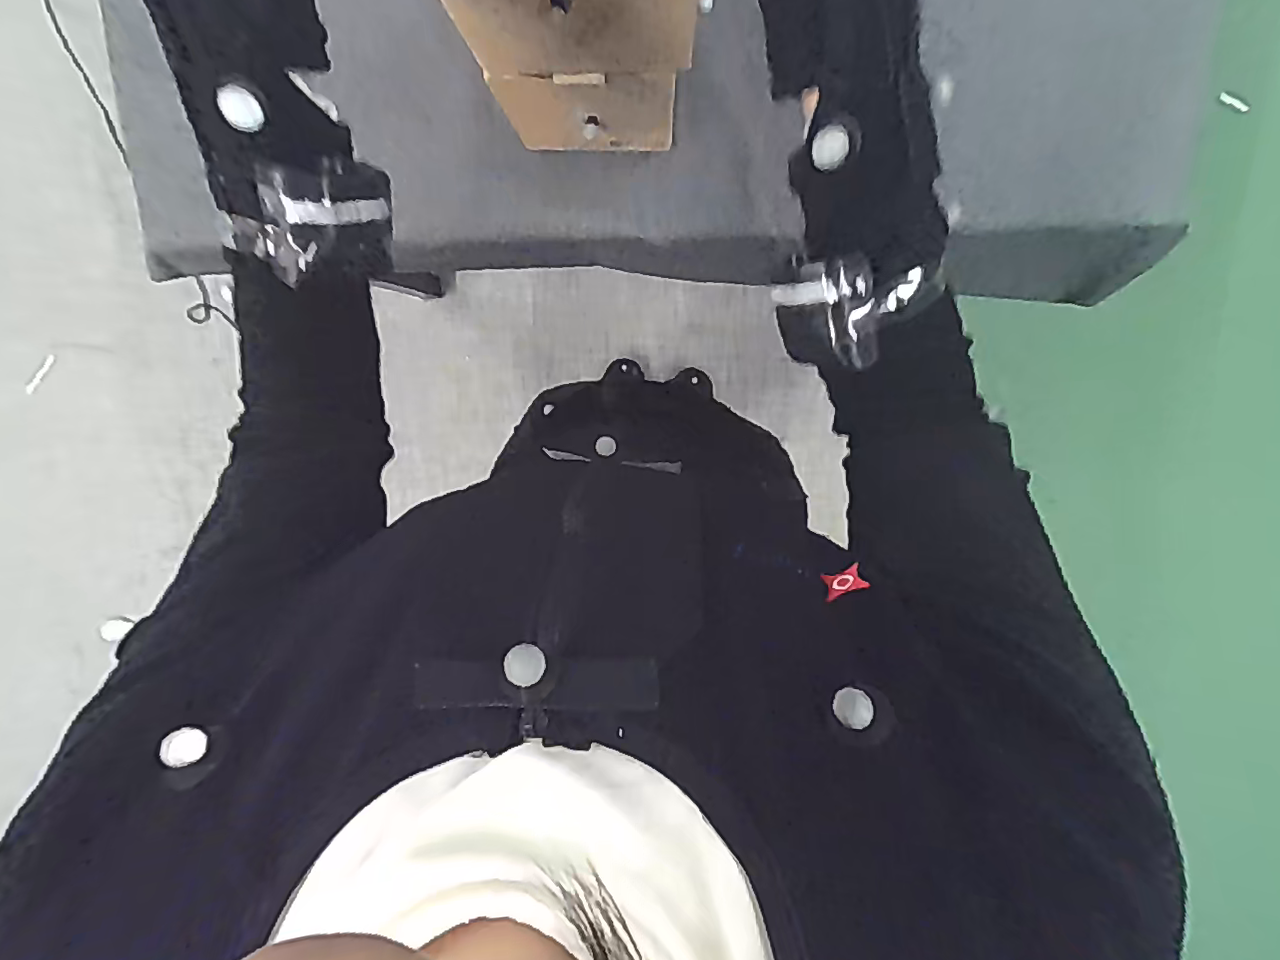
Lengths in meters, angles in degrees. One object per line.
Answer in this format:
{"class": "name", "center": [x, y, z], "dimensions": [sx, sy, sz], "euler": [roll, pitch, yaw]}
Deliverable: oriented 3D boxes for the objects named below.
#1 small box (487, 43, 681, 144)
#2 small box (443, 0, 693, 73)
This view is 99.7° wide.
{"class": "small box", "center": [-0.044, -0.442, 0.517], "dimensions": [0.168, 0.176, 0.179], "euler": [1, 103, 3]}
{"class": "small box", "center": [-0.048, -0.404, 0.357], "dimensions": [0.179, 0.176, 0.168], "euler": [1, 102, 4]}
